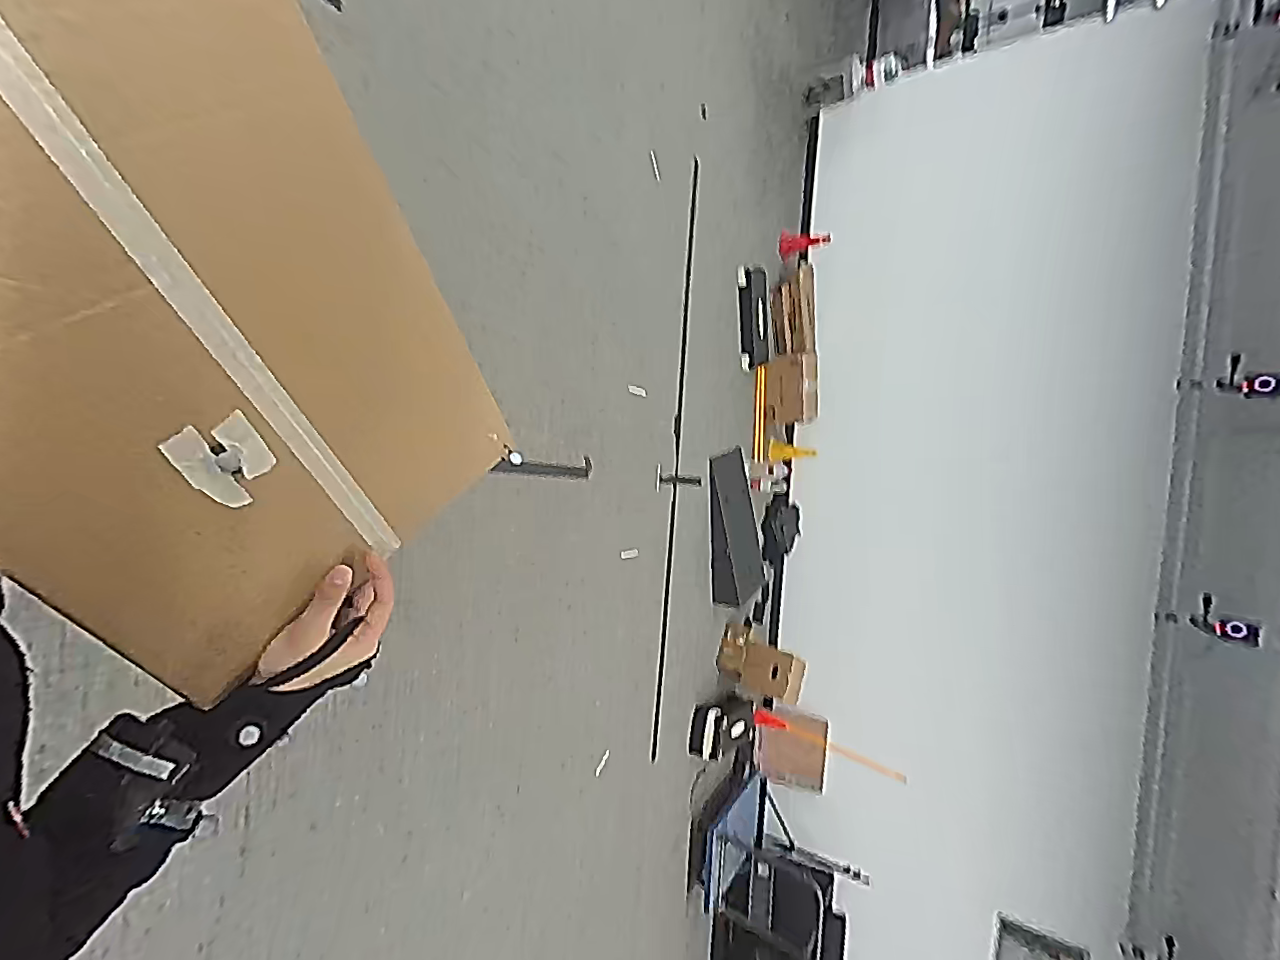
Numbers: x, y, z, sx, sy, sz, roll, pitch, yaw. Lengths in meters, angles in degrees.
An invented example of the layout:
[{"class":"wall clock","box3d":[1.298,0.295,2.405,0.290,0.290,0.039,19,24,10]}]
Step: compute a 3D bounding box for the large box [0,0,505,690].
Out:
[{"class":"large box","box3d":[-0.390,-0.119,0.430,0.320,0.320,0.408,-48,136,-33]}]
